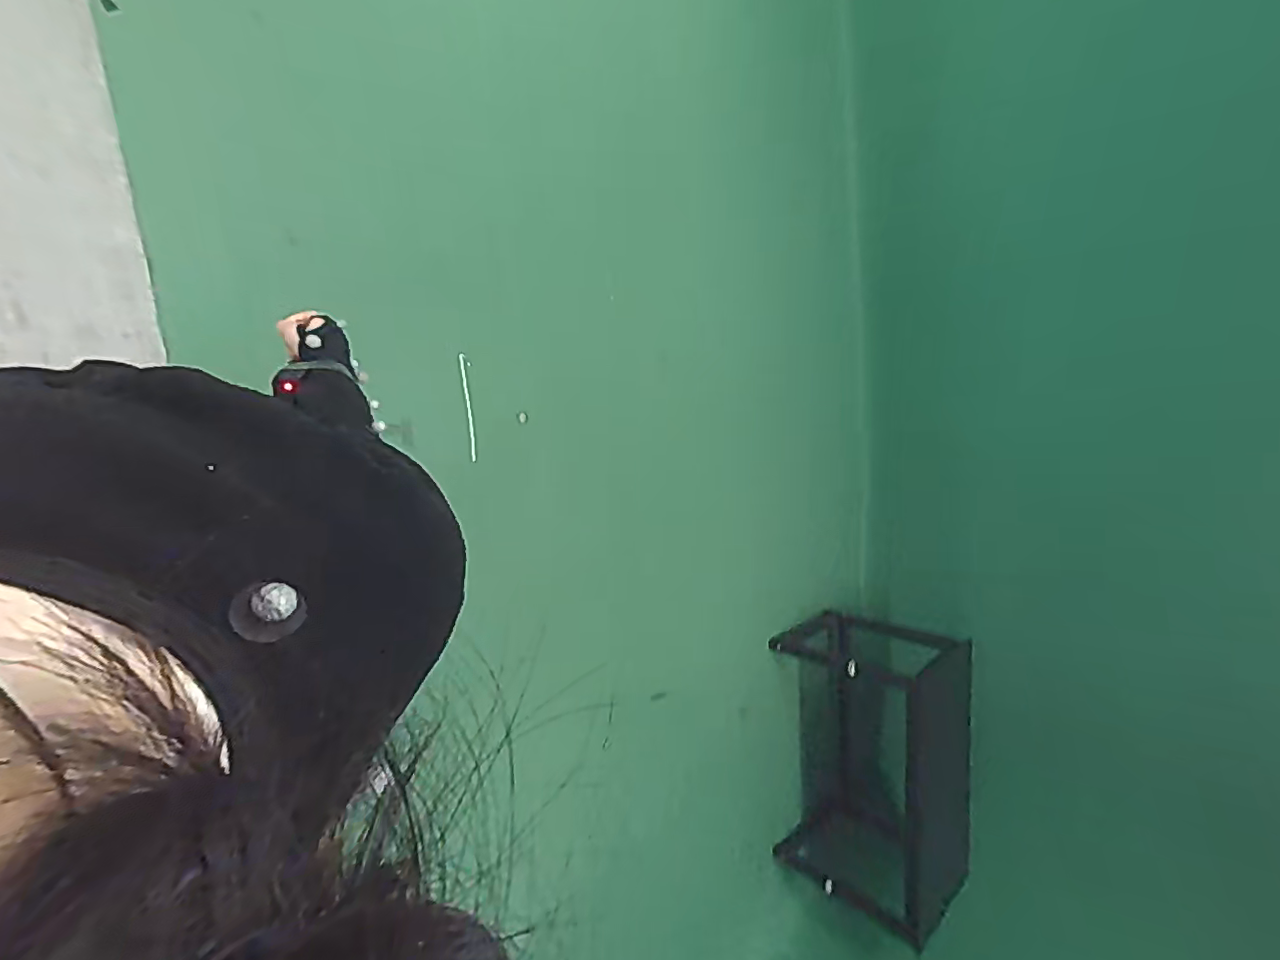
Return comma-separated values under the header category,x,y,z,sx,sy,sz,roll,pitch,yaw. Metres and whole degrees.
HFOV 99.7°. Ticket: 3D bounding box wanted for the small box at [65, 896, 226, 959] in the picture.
category,x,y,z,sx,sy,sz,roll,pitch,yaw
small box,-0.696,0.736,0.755,0.168,0.176,0.179,-24,107,-38
